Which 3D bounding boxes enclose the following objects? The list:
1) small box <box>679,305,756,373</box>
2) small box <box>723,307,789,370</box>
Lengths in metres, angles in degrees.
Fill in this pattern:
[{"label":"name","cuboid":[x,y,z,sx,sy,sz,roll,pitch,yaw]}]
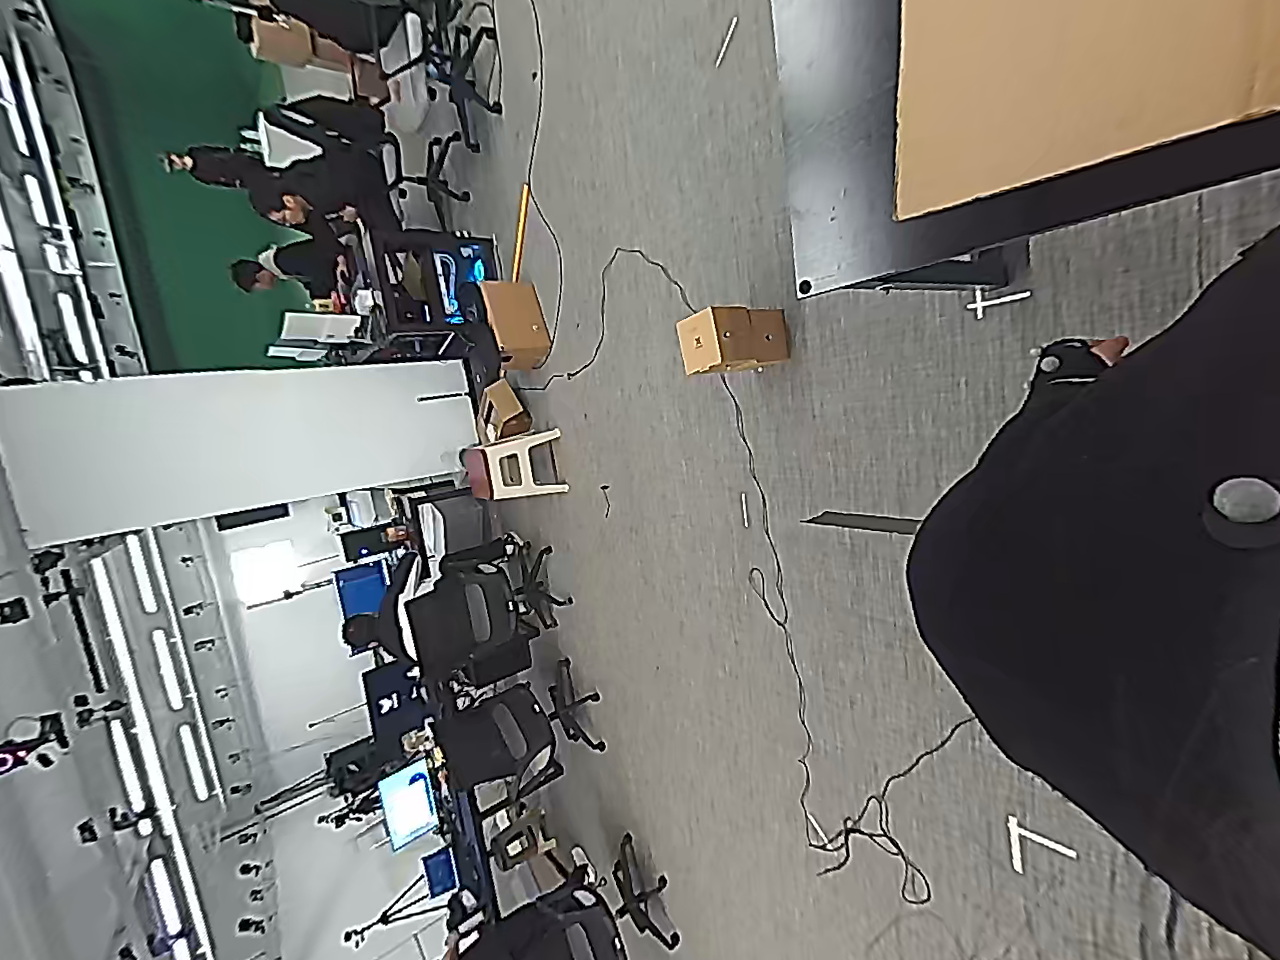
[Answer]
[{"label":"small box","cuboid":[0.252,-0.453,1.738,0.168,0.176,0.179,-8,93,54]},{"label":"small box","cuboid":[0.383,-0.477,1.831,0.168,0.176,0.179,-3,99,54]}]
